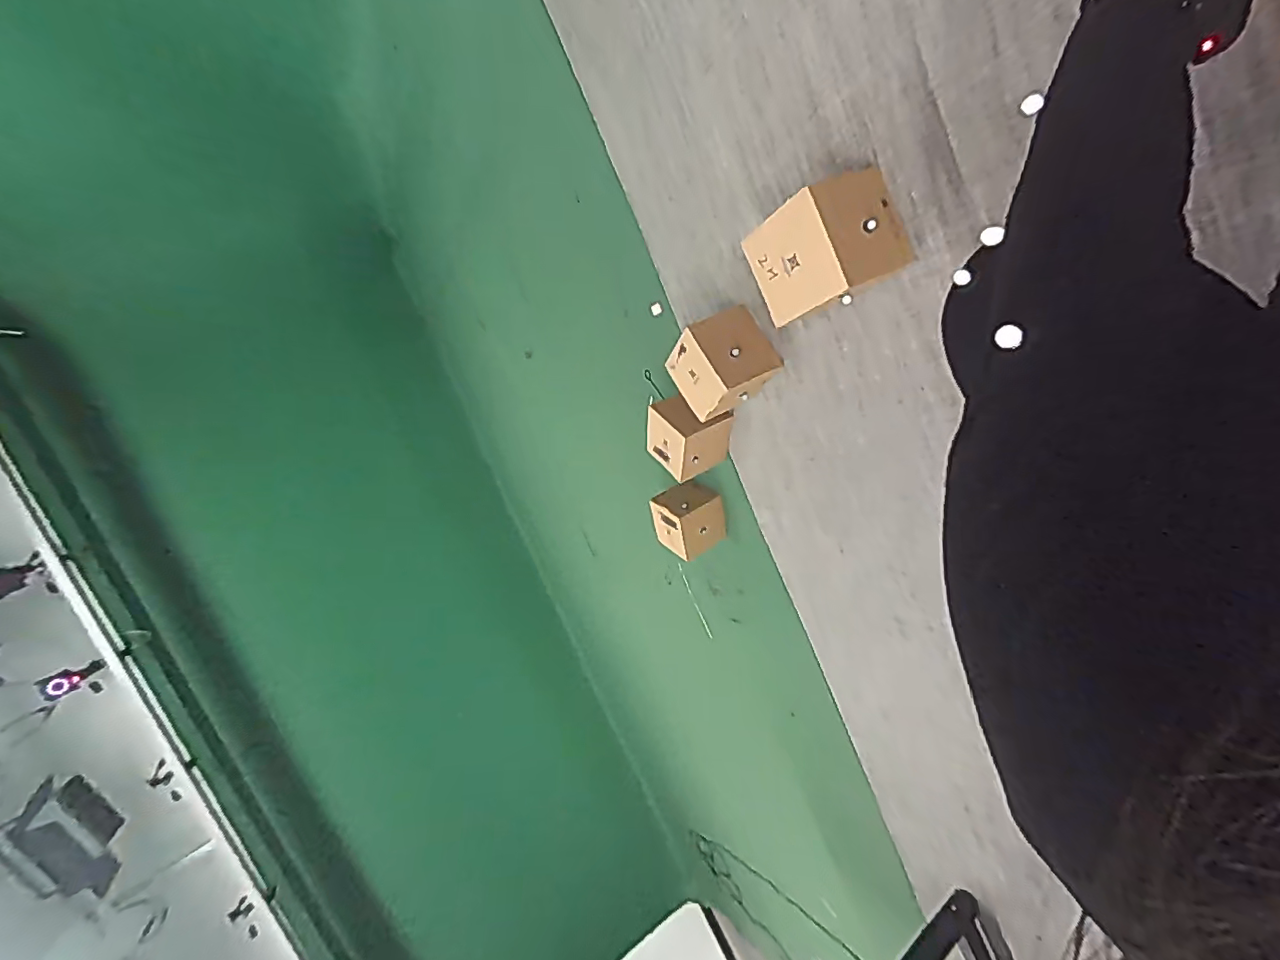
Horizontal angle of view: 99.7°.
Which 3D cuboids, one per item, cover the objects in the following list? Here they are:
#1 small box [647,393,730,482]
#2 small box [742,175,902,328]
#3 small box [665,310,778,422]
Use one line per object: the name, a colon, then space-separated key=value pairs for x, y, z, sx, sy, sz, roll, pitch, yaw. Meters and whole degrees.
small box: x=0.135 y=-0.132 z=1.540 sx=0.168 sy=0.176 sz=0.179 roll=47 pitch=150 yaw=33
small box: x=0.313 y=-0.385 z=0.920 sx=0.179 sy=0.176 sz=0.168 roll=-12 pitch=102 yaw=65
small box: x=0.193 y=-0.272 z=1.282 sx=0.179 sy=0.176 sz=0.168 roll=59 pitch=156 yaw=9
